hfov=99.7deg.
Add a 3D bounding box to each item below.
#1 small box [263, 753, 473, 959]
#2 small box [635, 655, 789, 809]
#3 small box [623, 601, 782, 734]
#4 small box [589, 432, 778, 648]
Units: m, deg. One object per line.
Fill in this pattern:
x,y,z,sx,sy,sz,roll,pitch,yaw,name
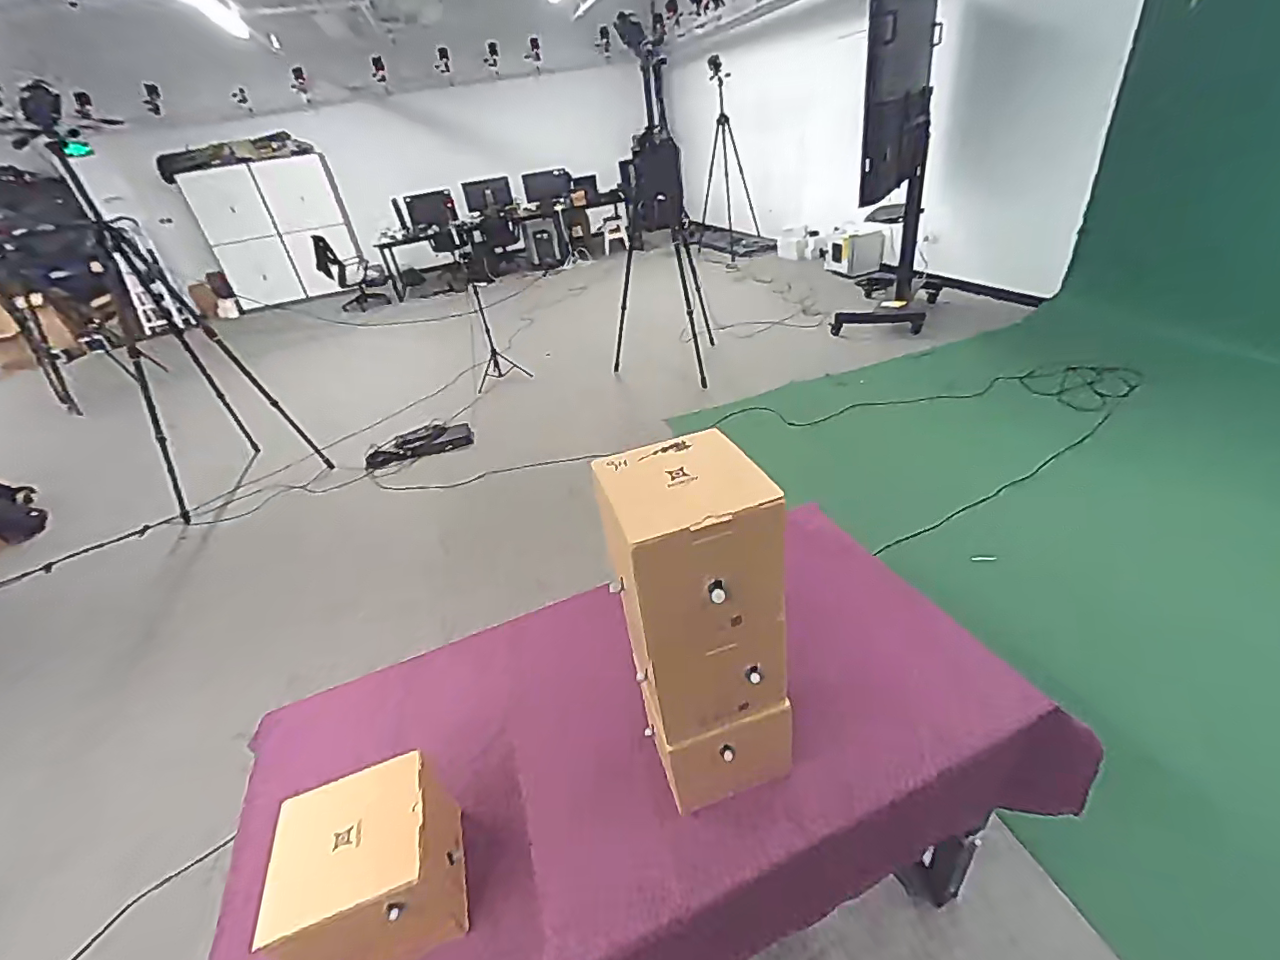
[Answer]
-0.332,0.501,0.695,0.179,0.176,0.168,-18,33,-12,small box
0.108,0.346,0.800,0.179,0.176,0.168,-16,33,-8,small box
0.079,0.207,0.720,0.168,0.176,0.179,-16,32,-9,small box
0.050,0.071,0.632,0.168,0.176,0.179,-16,33,-10,small box
